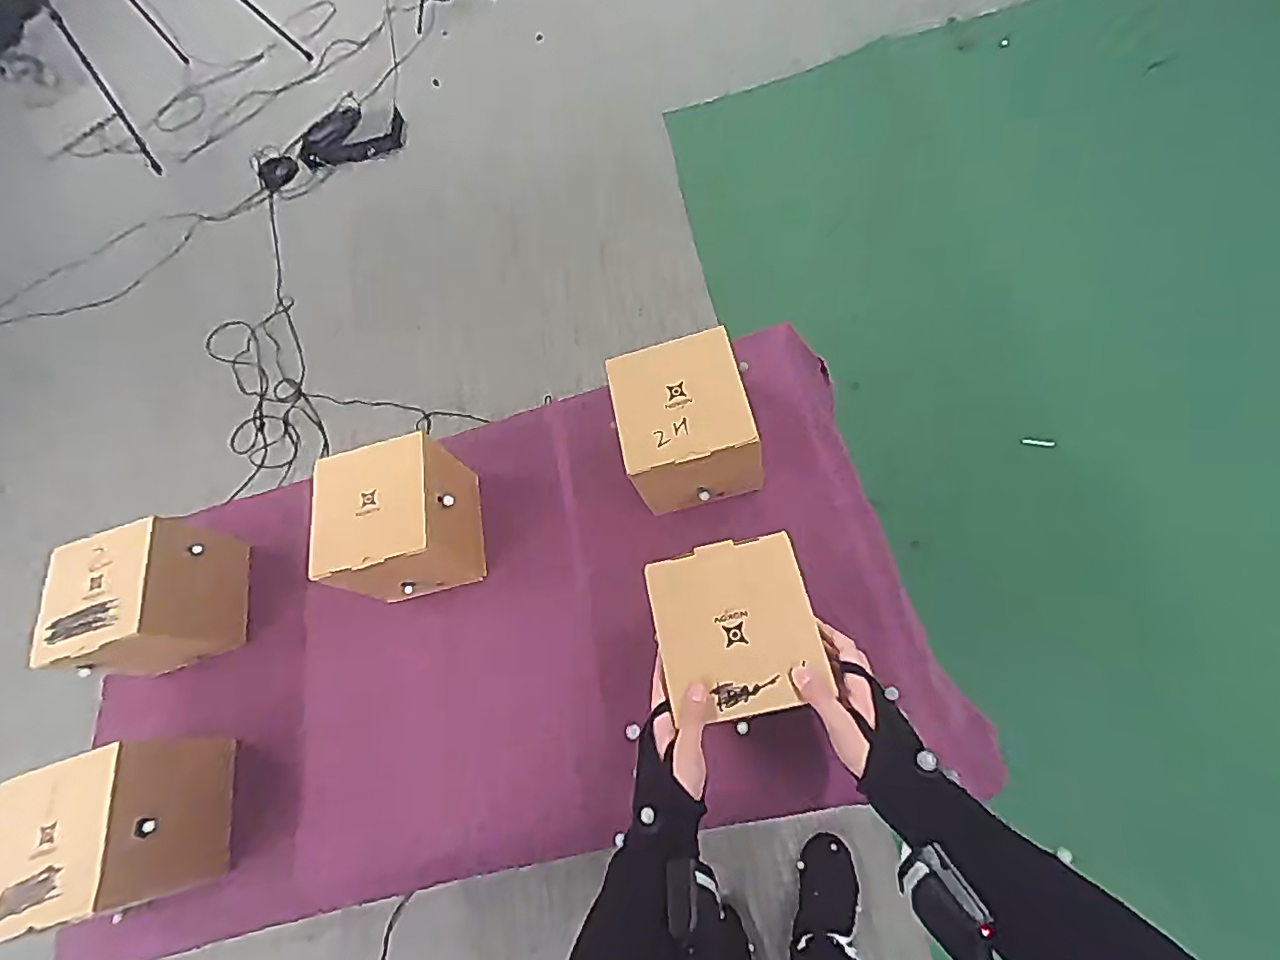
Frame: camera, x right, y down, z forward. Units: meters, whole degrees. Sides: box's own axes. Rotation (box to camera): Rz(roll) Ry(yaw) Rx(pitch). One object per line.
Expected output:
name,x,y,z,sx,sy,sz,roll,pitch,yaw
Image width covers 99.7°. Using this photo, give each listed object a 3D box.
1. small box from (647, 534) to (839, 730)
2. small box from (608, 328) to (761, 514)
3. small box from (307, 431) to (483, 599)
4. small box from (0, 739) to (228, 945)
small box,0.114,0.185,0.632,0.168,0.176,0.179,-14,64,6
small box,0.065,-0.072,0.748,0.168,0.176,0.179,-15,66,8
small box,-0.342,0.058,0.781,0.168,0.176,0.179,-14,67,5
small box,-0.665,0.442,0.681,0.168,0.176,0.179,-19,63,3
